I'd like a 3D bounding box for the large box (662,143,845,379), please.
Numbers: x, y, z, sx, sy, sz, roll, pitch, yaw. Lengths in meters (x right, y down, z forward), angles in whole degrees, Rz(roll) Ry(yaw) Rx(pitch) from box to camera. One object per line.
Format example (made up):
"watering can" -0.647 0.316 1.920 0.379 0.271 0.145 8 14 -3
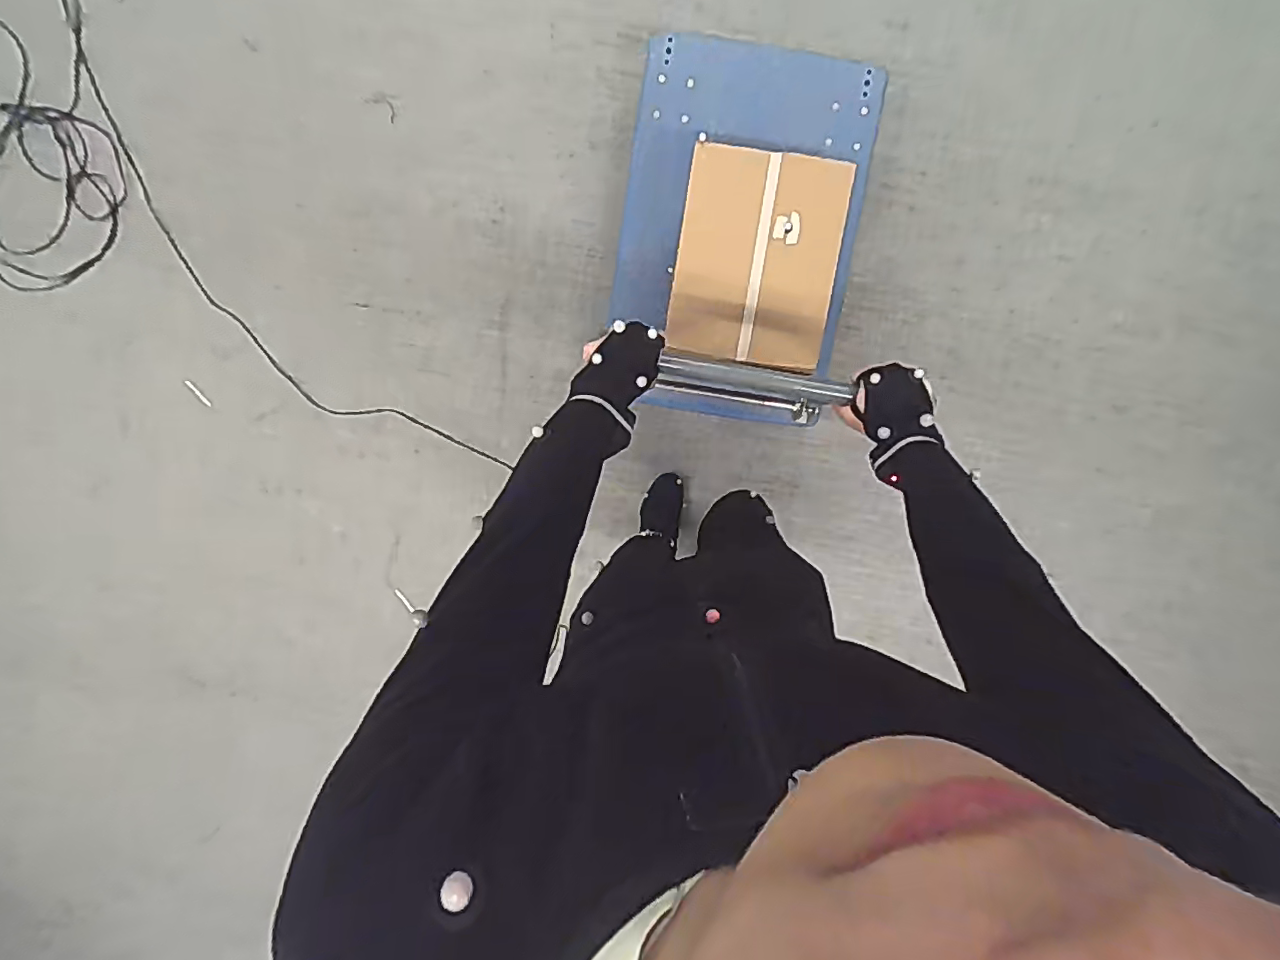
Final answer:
"large box" 0.228 -0.456 1.220 0.320 0.320 0.408 9 97 0
